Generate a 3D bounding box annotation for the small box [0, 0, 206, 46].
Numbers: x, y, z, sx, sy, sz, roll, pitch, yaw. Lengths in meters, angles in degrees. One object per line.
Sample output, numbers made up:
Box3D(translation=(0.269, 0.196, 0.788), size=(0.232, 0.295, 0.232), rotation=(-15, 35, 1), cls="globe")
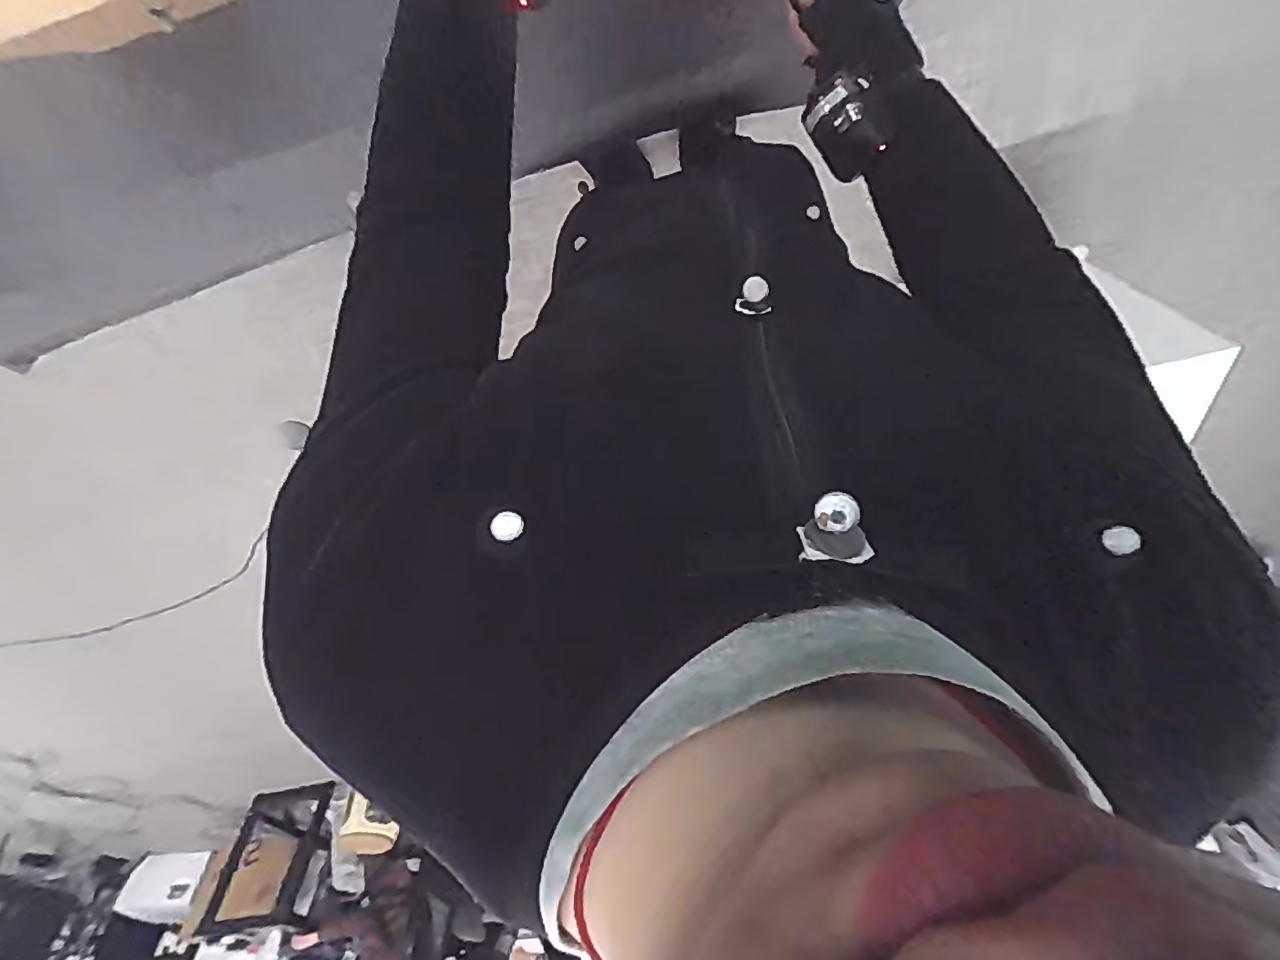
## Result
Box3D(translation=(-0.460, -0.447, 0.397), size=(0.179, 0.176, 0.168), rotation=(-13, 129, 8), cls="small box")
